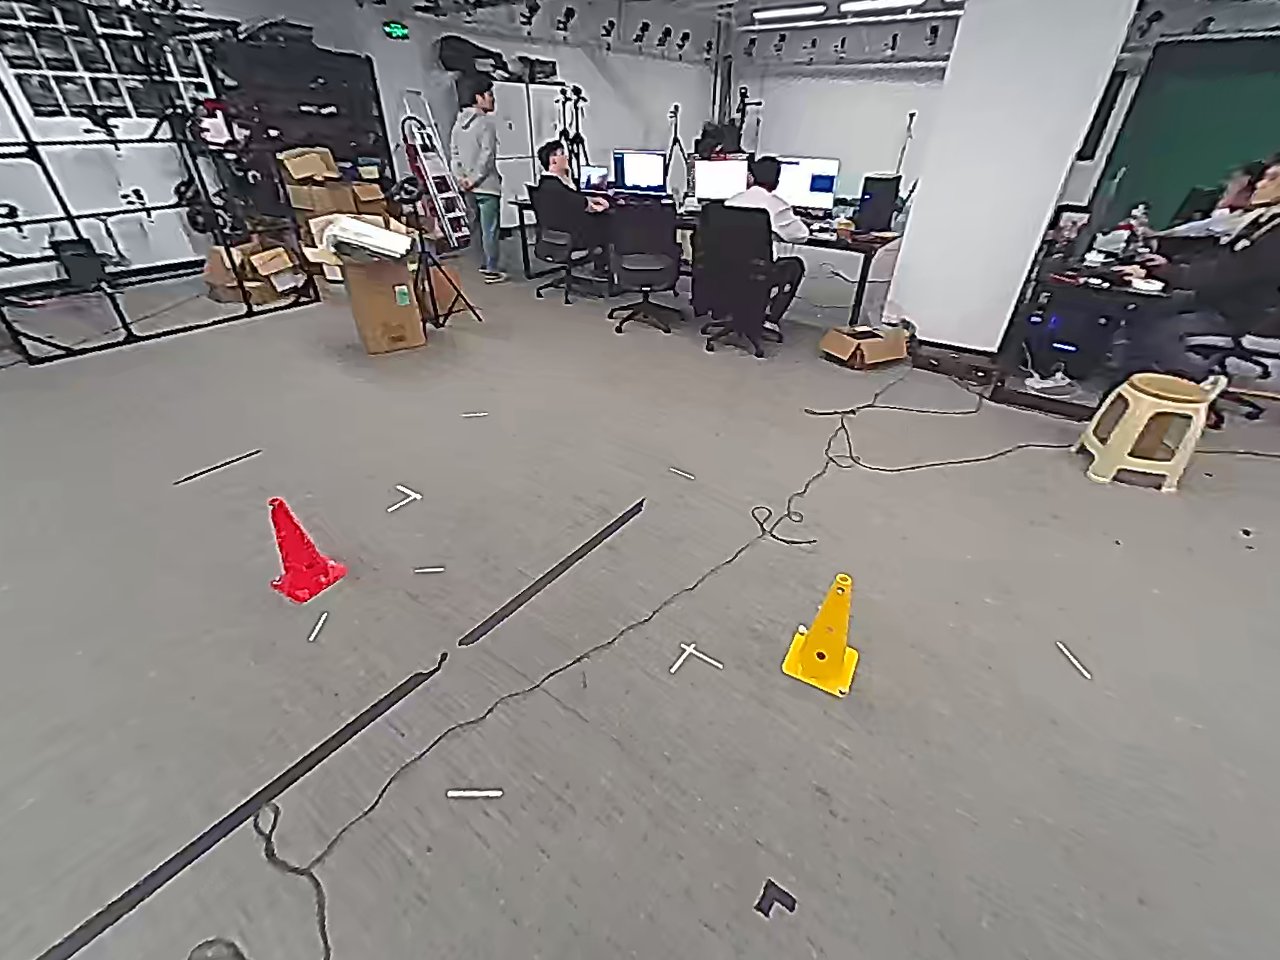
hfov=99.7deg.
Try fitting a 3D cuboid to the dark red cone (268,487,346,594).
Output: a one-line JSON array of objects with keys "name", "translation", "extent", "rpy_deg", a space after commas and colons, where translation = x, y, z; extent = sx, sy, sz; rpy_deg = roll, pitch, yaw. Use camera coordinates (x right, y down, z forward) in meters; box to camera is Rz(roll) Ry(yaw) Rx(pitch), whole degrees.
[{"name": "dark red cone", "translation": [-1.223, 0.197, 1.908], "extent": [0.201, 0.394, 0.202], "rpy_deg": [18, 37, 24]}]
